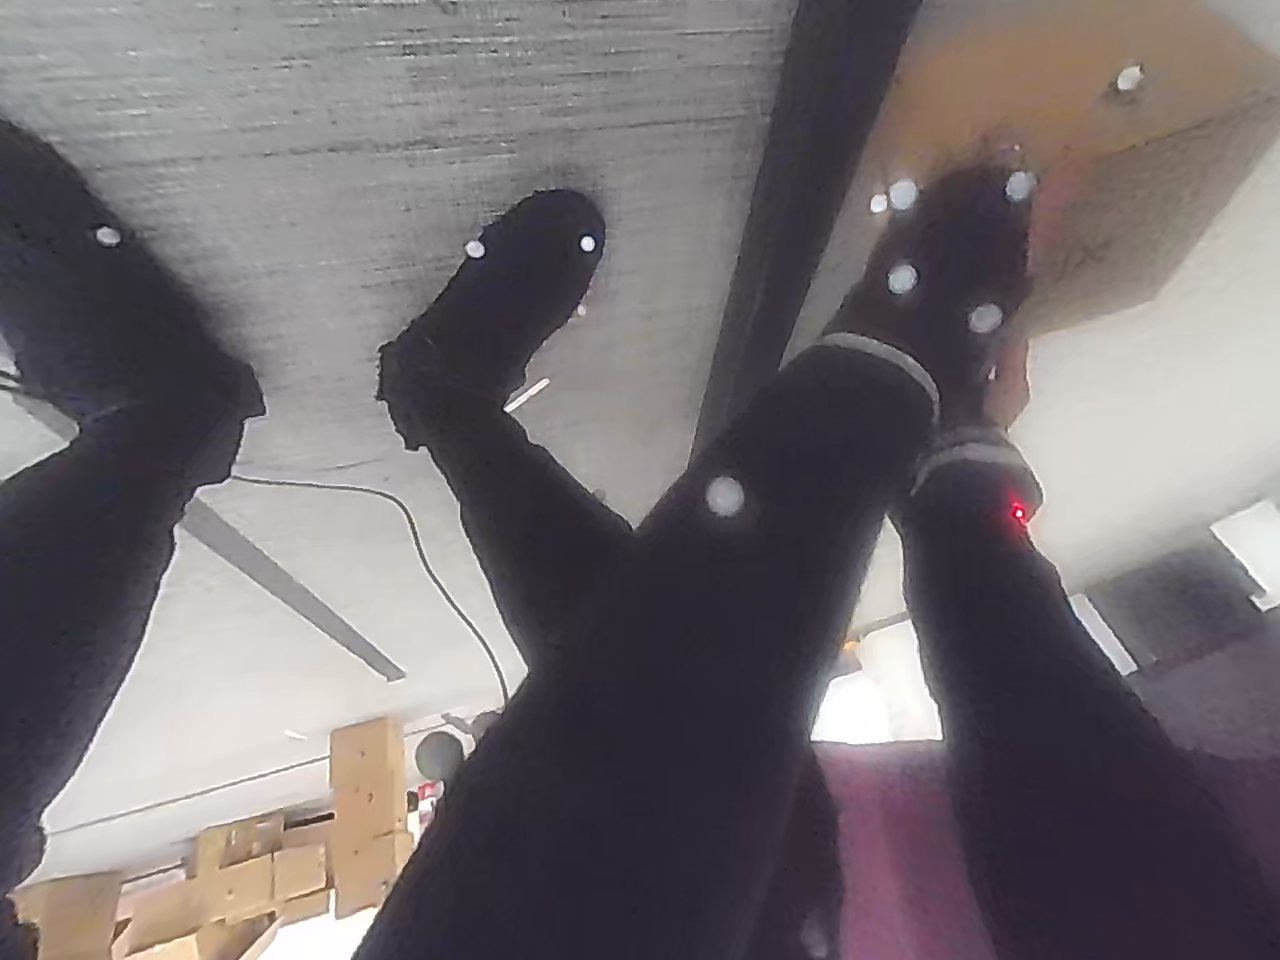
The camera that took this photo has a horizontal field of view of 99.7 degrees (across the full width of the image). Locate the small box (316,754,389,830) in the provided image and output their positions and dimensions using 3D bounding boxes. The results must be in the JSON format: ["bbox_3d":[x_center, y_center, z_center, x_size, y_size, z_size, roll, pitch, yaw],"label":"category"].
[{"bbox_3d":[-0.889,0.968,1.684,0.168,0.176,0.179,-9,150,-16],"label":"small box"}]

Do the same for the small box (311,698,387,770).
[{"bbox_3d":[-0.936,0.825,1.749,0.179,0.176,0.168,-12,152,-12],"label":"small box"}]
